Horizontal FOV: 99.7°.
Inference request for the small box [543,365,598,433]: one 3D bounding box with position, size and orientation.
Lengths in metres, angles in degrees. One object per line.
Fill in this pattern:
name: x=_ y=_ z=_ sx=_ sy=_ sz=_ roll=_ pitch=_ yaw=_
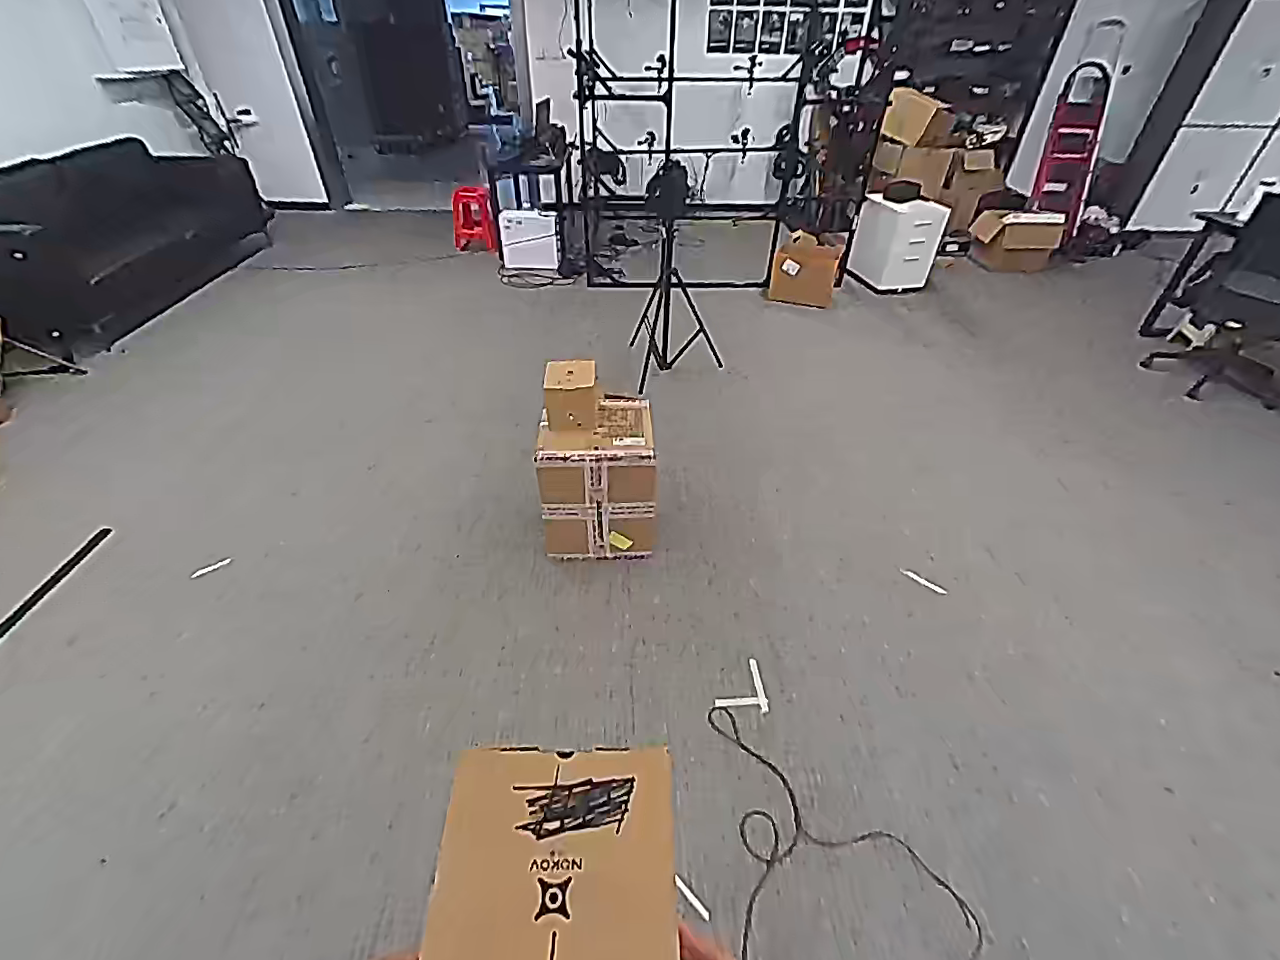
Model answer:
small box: x=-0.233 y=-0.279 z=1.851 sx=0.168 sy=0.176 sz=0.179 roll=-2 pitch=42 yaw=-1
